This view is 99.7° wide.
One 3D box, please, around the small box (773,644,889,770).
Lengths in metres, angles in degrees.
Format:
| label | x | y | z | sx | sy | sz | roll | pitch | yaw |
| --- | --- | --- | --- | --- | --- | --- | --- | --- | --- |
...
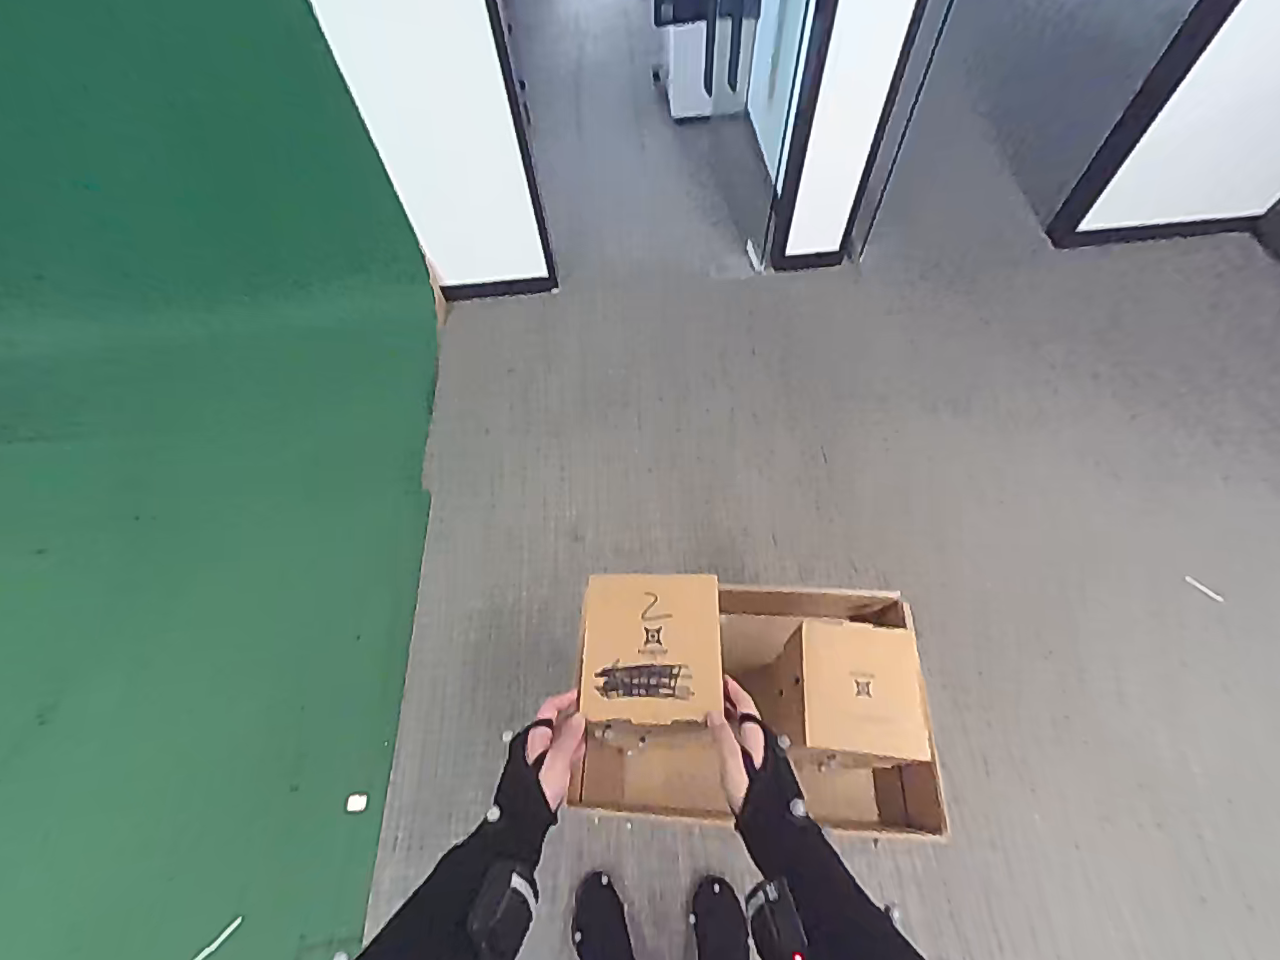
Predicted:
| label | x | y | z | sx | sy | sz | roll | pitch | yaw |
| --- | --- | --- | --- | --- | --- | --- | --- | --- | --- |
| small box | 0.335 | 0.410 | 0.969 | 0.168 | 0.176 | 0.179 | 5 | 61 | 7 |

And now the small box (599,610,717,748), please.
| label | x | y | z | sx | sy | sz | roll | pitch | yaw |
| --- | --- | --- | --- | --- | --- | --- | --- | --- | --- |
| small box | 0.029 | 0.315 | 0.851 | 0.168 | 0.176 | 0.179 | -1 | 60 | 3 |

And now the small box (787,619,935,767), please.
| label | x | y | z | sx | sy | sz | roll | pitch | yaw |
| --- | --- | --- | --- | --- | --- | --- | --- | --- | --- |
| small box | 0.322 | 0.329 | 0.828 | 0.168 | 0.176 | 0.179 | 4 | 61 | 6 |
